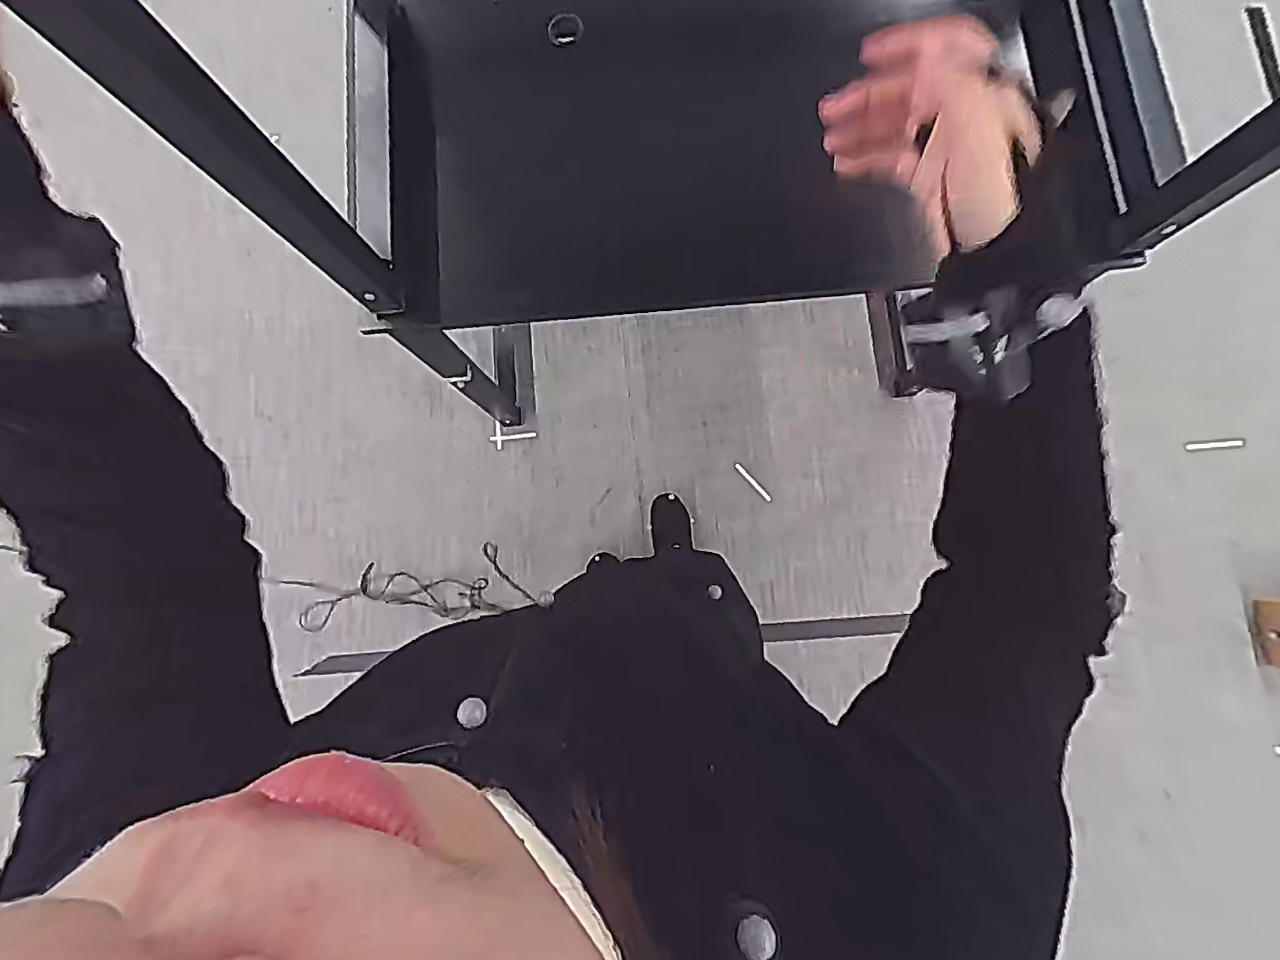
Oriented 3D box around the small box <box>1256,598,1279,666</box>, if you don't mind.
[{"bbox_3d":[1.701,0.387,1.331,0.168,0.176,0.179,-5,84,1],"label":"small box"}]
